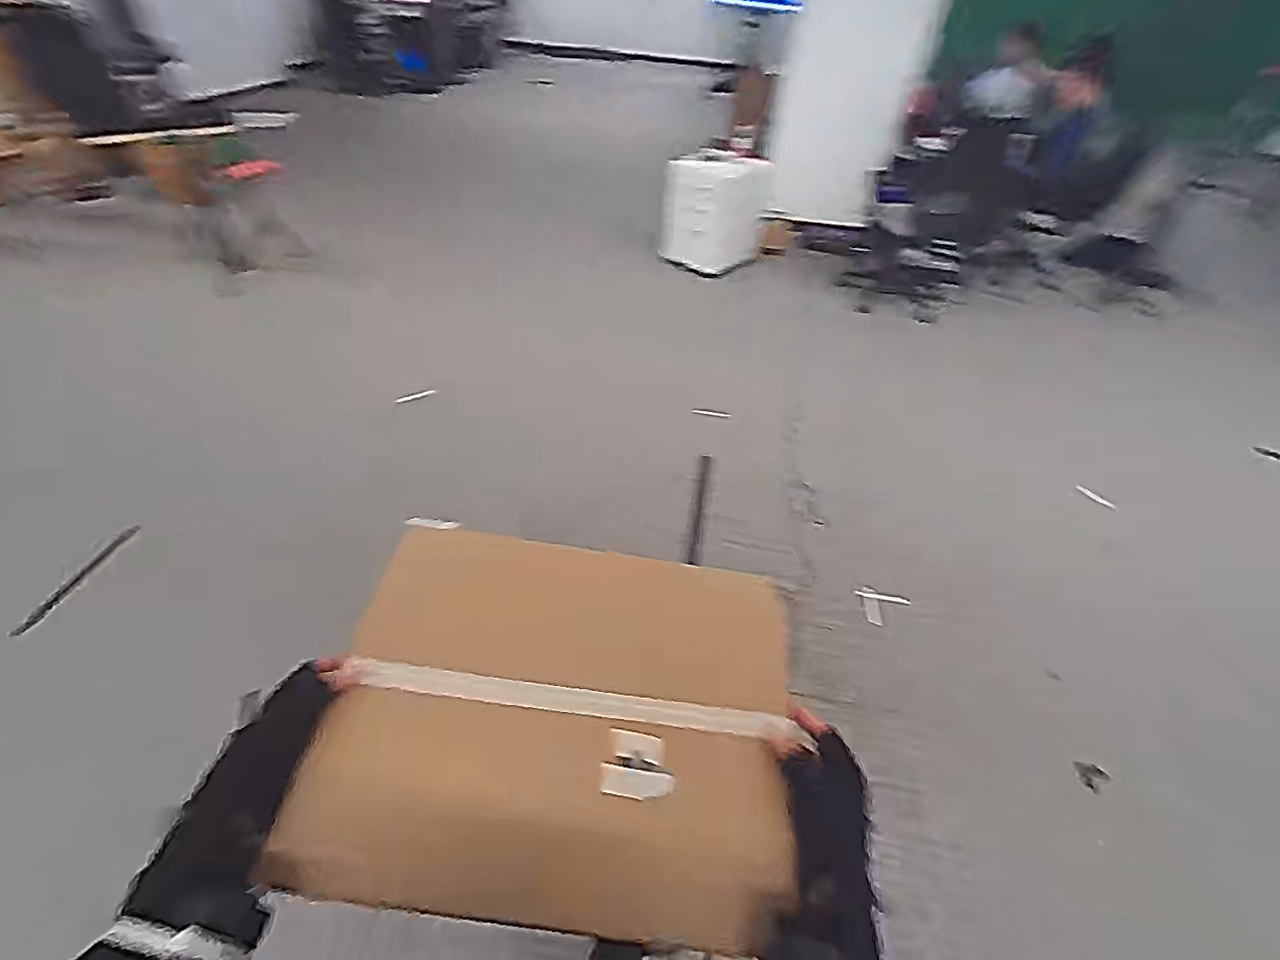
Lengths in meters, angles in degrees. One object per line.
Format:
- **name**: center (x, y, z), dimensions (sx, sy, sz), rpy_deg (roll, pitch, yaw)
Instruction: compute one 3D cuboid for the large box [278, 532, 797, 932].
- **large box**: center (-0.082, 0.292, 0.614), dimensions (0.408, 0.320, 0.320), rpy_deg (9, 52, -2)
